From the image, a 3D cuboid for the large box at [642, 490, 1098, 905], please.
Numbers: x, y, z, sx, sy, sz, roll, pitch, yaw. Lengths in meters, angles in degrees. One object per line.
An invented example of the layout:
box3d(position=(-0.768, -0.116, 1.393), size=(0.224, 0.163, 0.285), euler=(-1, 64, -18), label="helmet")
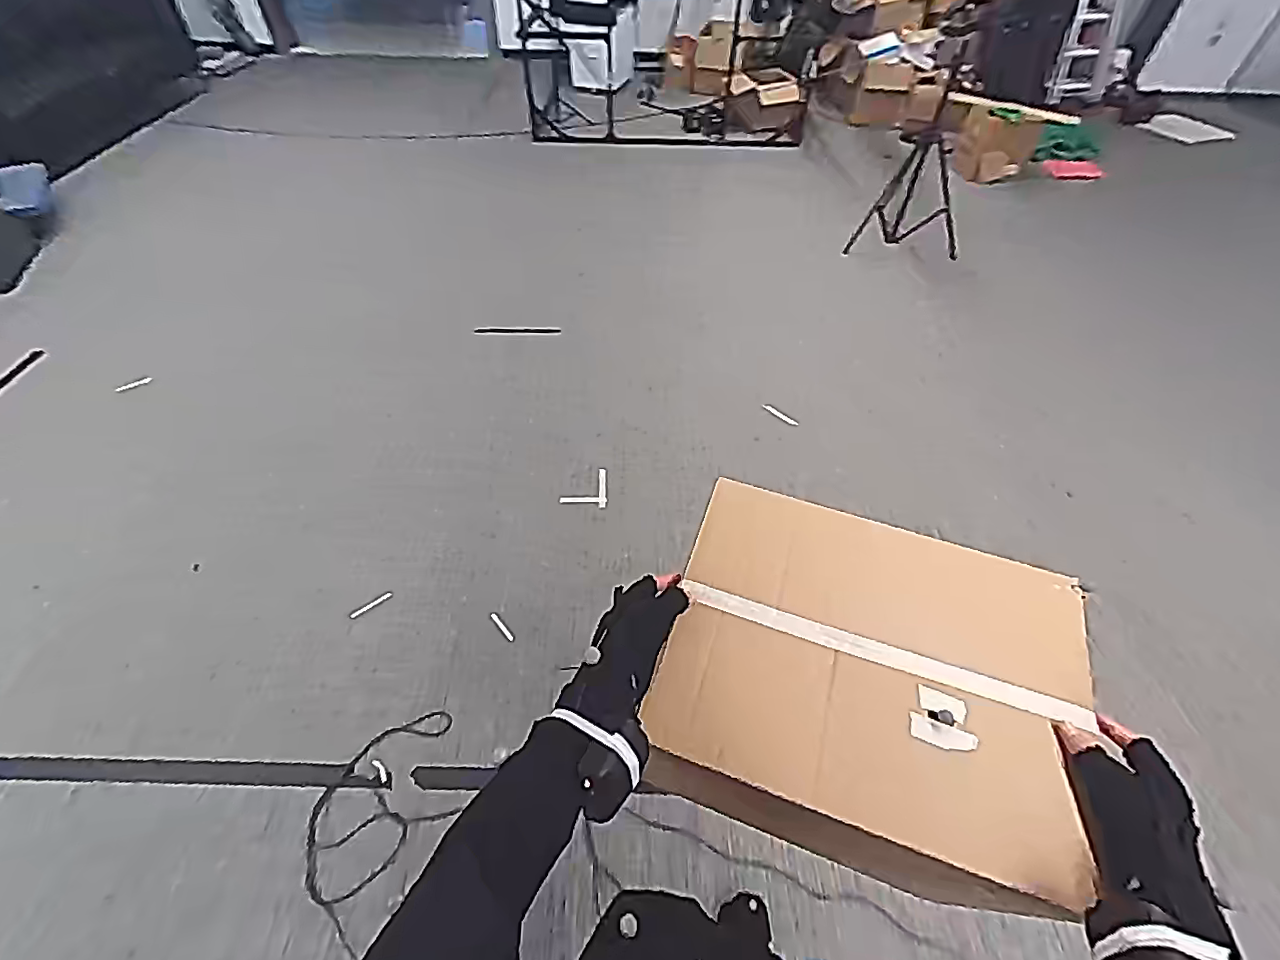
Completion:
box3d(position=(0.236, 0.264, 0.681), size=(0.408, 0.320, 0.320), euler=(17, 58, 11), label="large box")
